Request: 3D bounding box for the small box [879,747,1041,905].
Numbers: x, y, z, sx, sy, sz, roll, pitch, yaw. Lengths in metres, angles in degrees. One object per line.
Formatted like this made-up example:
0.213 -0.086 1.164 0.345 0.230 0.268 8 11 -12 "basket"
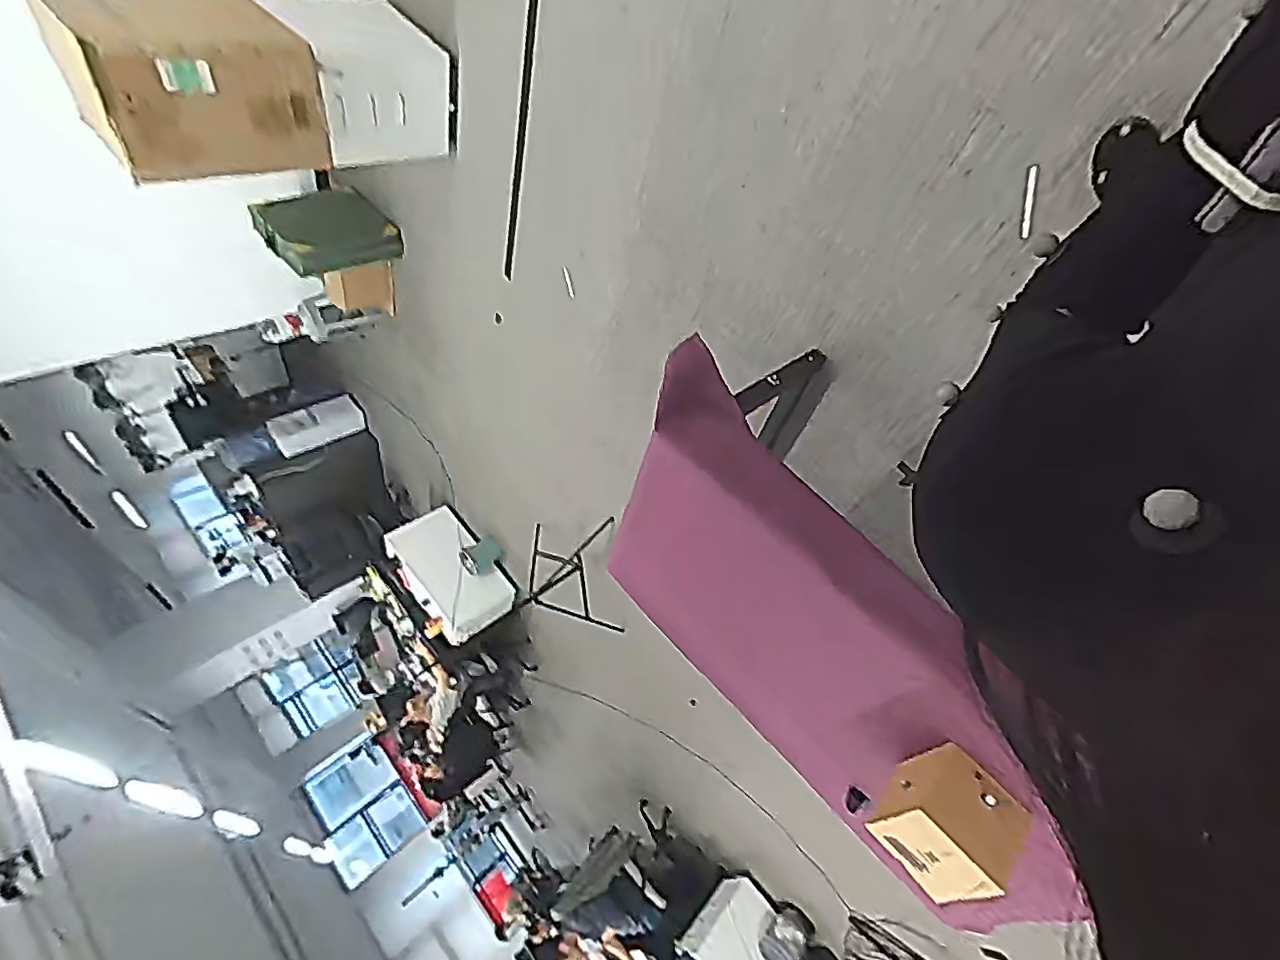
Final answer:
0.586 0.630 0.990 0.168 0.176 0.179 43 142 21 "small box"
